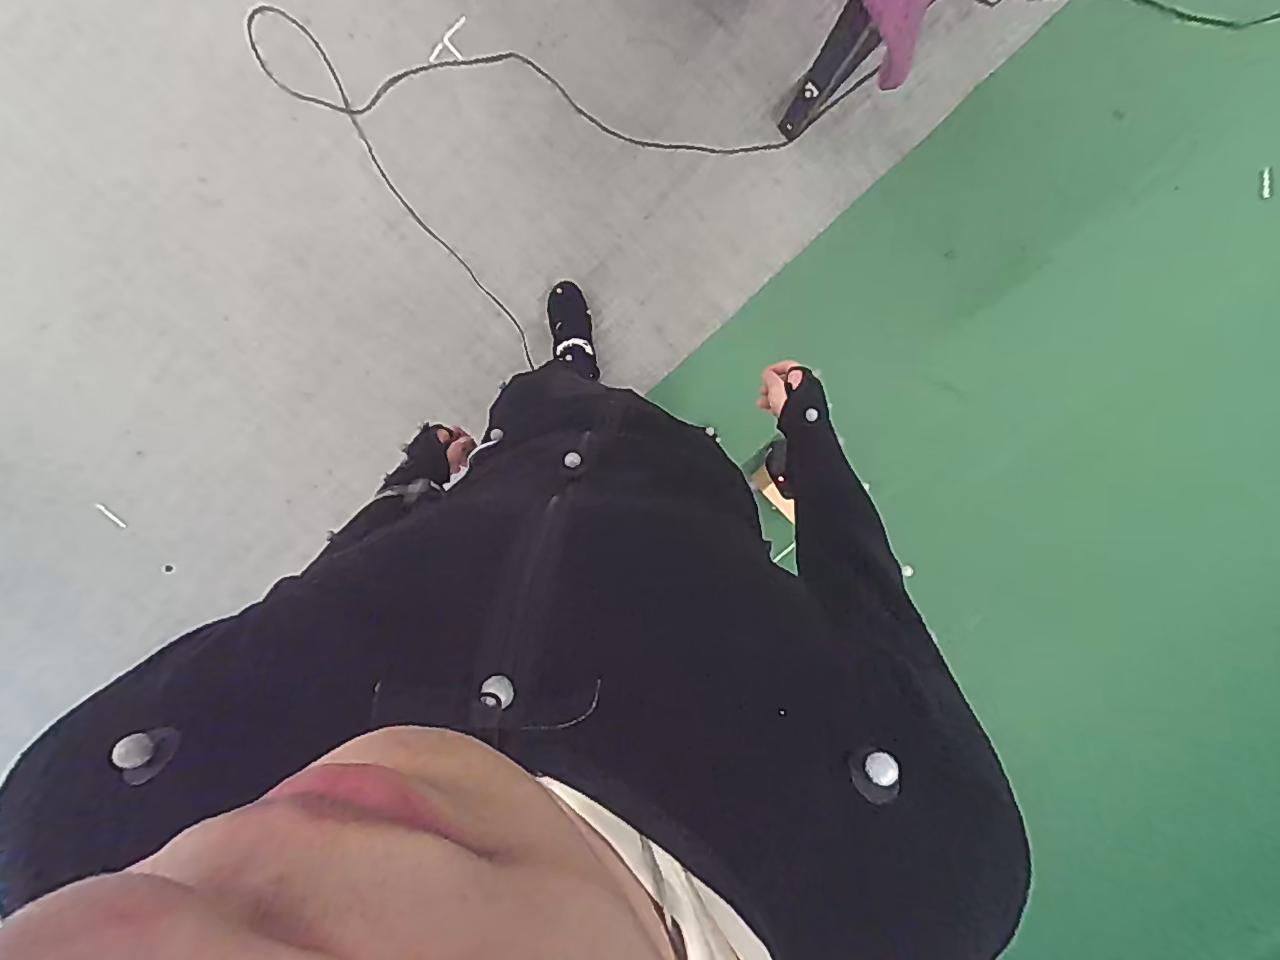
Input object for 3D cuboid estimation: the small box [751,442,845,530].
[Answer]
[{"bbox_3d":[0.442,0.008,1.549,0.179,0.176,0.168,44,102,-11],"label":"small box"}]
